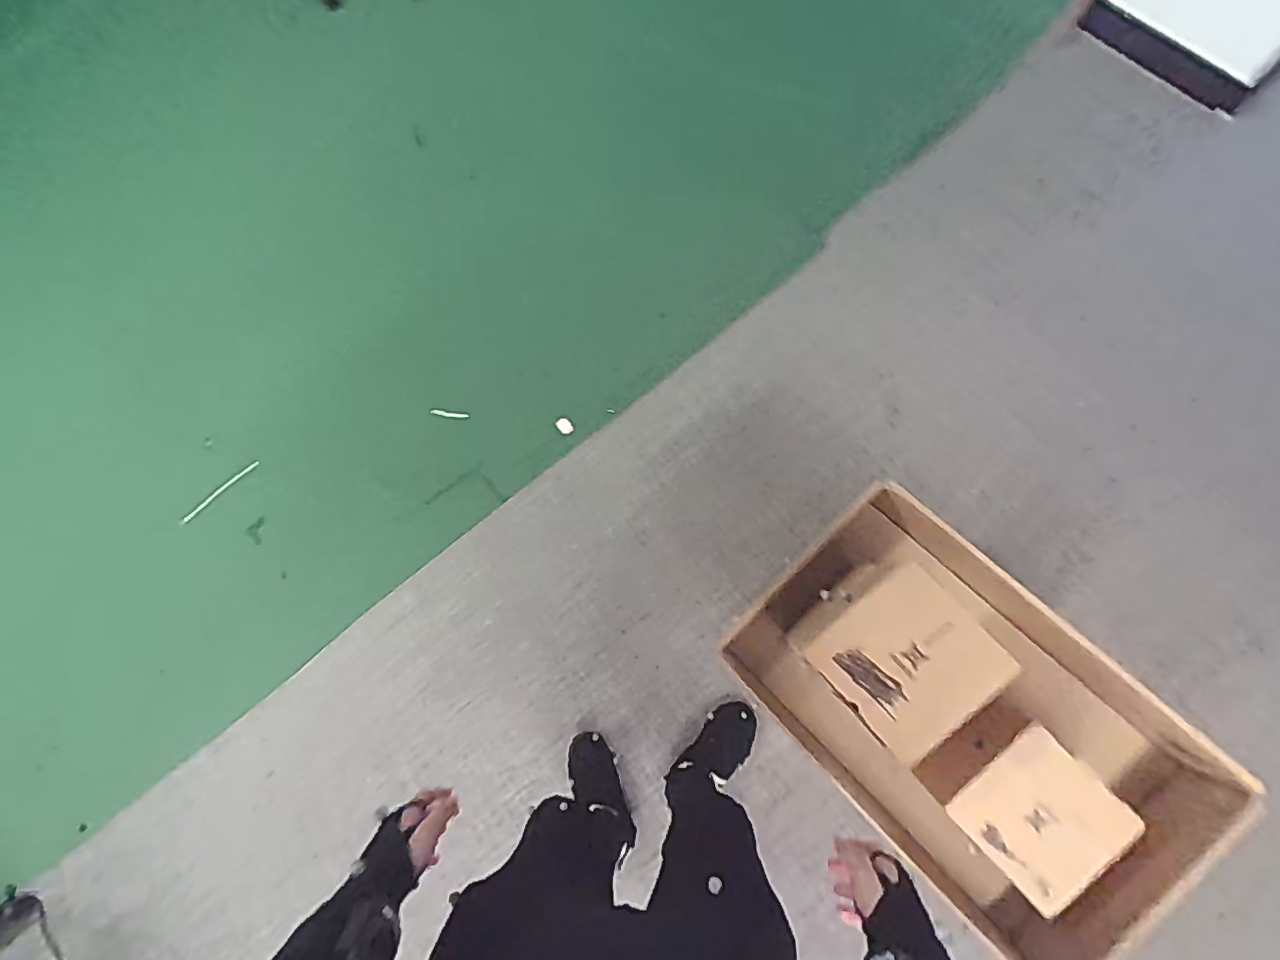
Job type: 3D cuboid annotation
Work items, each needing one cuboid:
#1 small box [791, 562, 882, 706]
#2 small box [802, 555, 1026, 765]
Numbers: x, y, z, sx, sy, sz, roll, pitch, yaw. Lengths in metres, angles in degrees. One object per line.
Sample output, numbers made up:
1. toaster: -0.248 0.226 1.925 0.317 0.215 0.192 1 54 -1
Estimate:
1. small box: 0.355 0.251 0.849 0.179 0.176 0.168 -44 74 0
2. small box: 0.326 0.218 0.690 0.179 0.176 0.168 -40 74 0
